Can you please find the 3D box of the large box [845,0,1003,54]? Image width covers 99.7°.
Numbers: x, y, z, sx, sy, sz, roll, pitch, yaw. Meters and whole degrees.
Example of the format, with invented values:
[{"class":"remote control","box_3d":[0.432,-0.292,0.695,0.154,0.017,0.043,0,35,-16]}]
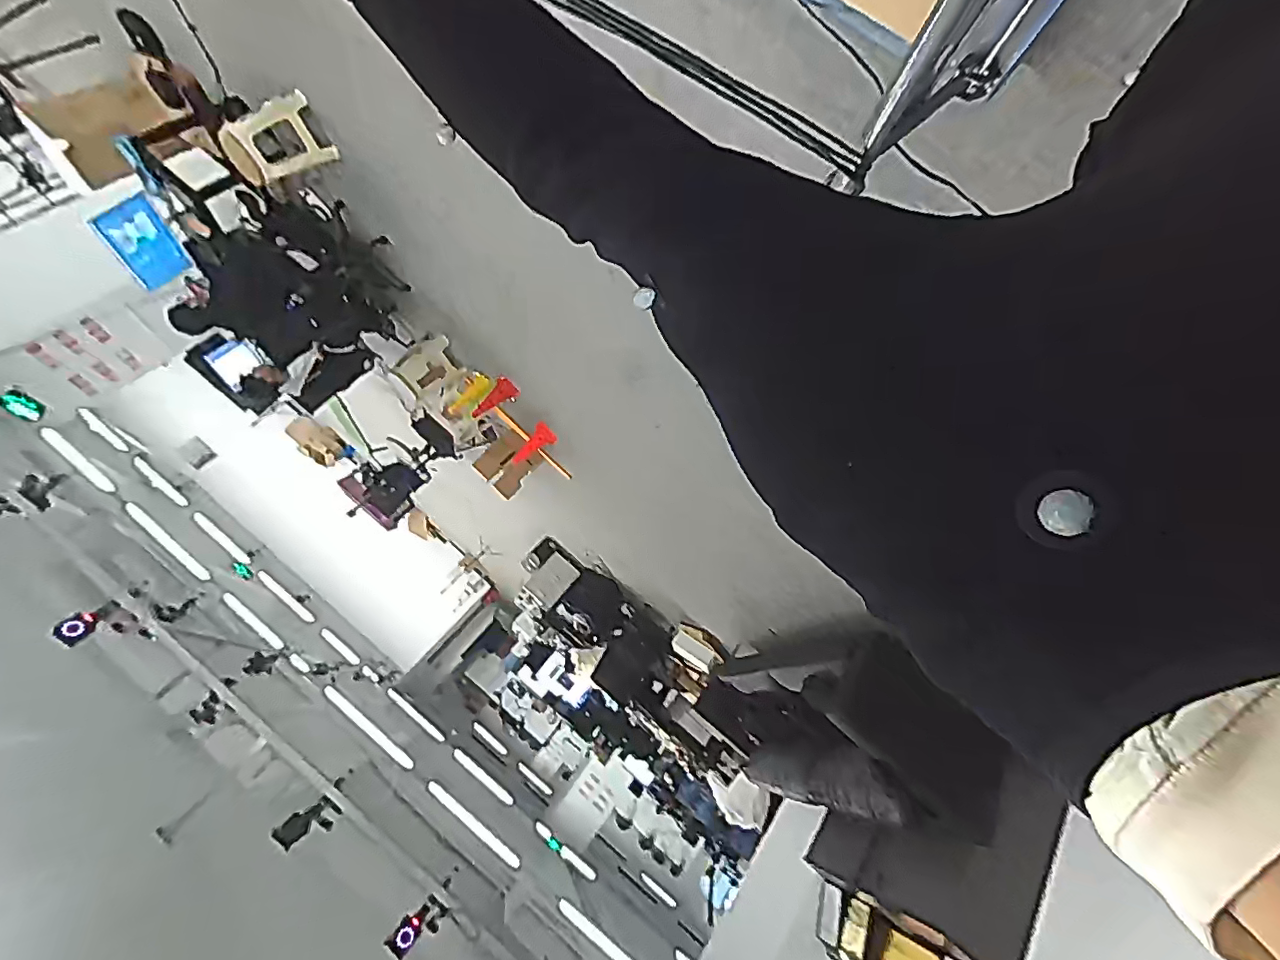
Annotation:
[{"class":"large box","box_3d":[0.439,-0.949,0.803,0.408,0.320,0.320,40,155,8]}]
